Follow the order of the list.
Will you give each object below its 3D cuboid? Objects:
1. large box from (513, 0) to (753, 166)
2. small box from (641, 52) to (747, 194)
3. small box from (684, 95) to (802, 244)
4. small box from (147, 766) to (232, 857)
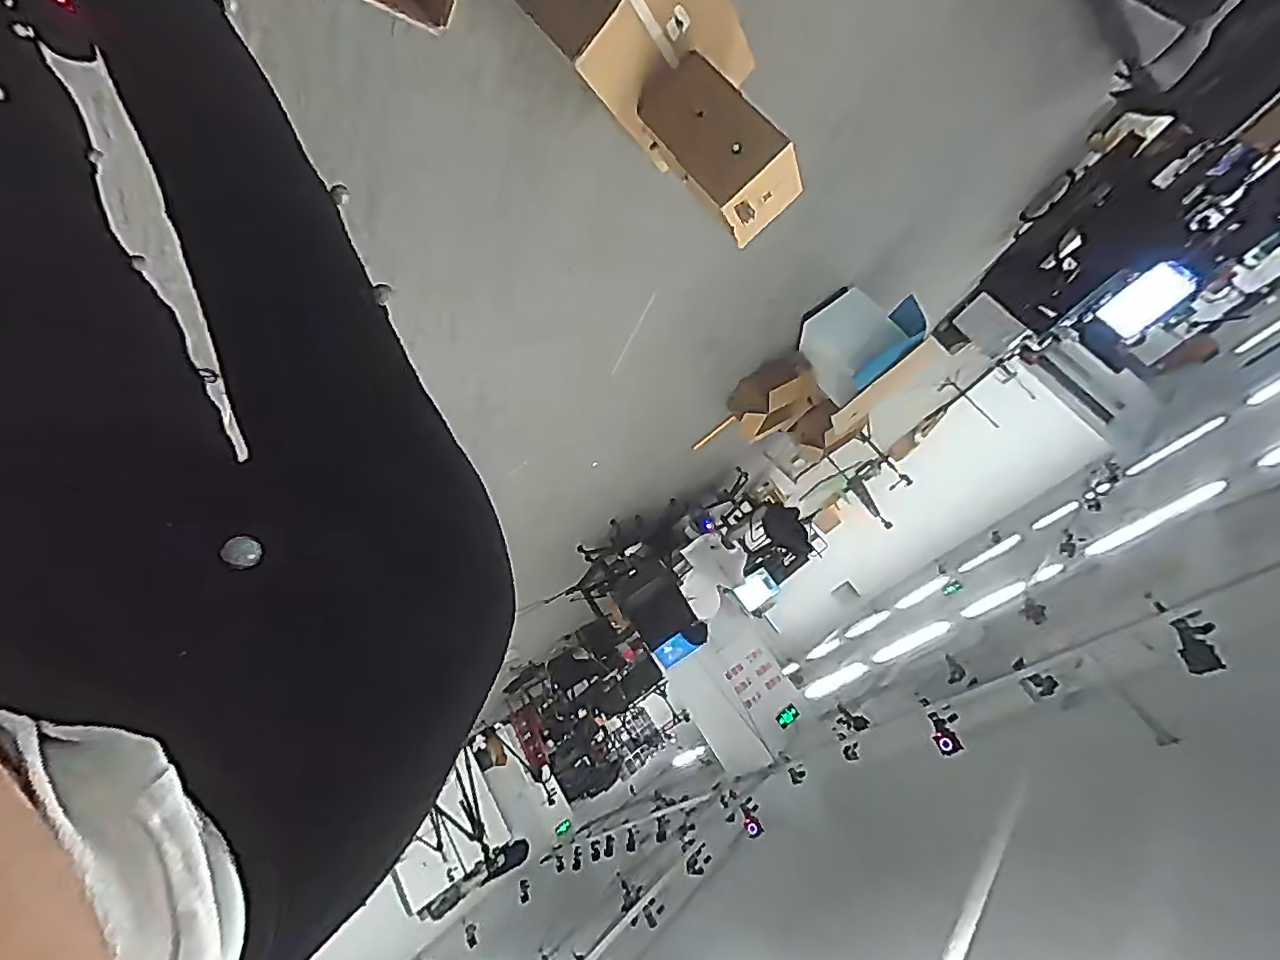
[{"bbox_3d":[-0.015,-1.004,1.186,0.320,0.320,0.408,-43,160,21],"label":"large box"},{"bbox_3d":[0.133,-0.787,1.202,0.179,0.176,0.168,-39,161,15],"label":"small box"},{"bbox_3d":[0.215,-0.655,1.151,0.179,0.176,0.168,-40,161,15],"label":"small box"},{"bbox_3d":[-1.380,1.015,1.663,0.168,0.176,0.179,-18,156,-42],"label":"small box"}]
